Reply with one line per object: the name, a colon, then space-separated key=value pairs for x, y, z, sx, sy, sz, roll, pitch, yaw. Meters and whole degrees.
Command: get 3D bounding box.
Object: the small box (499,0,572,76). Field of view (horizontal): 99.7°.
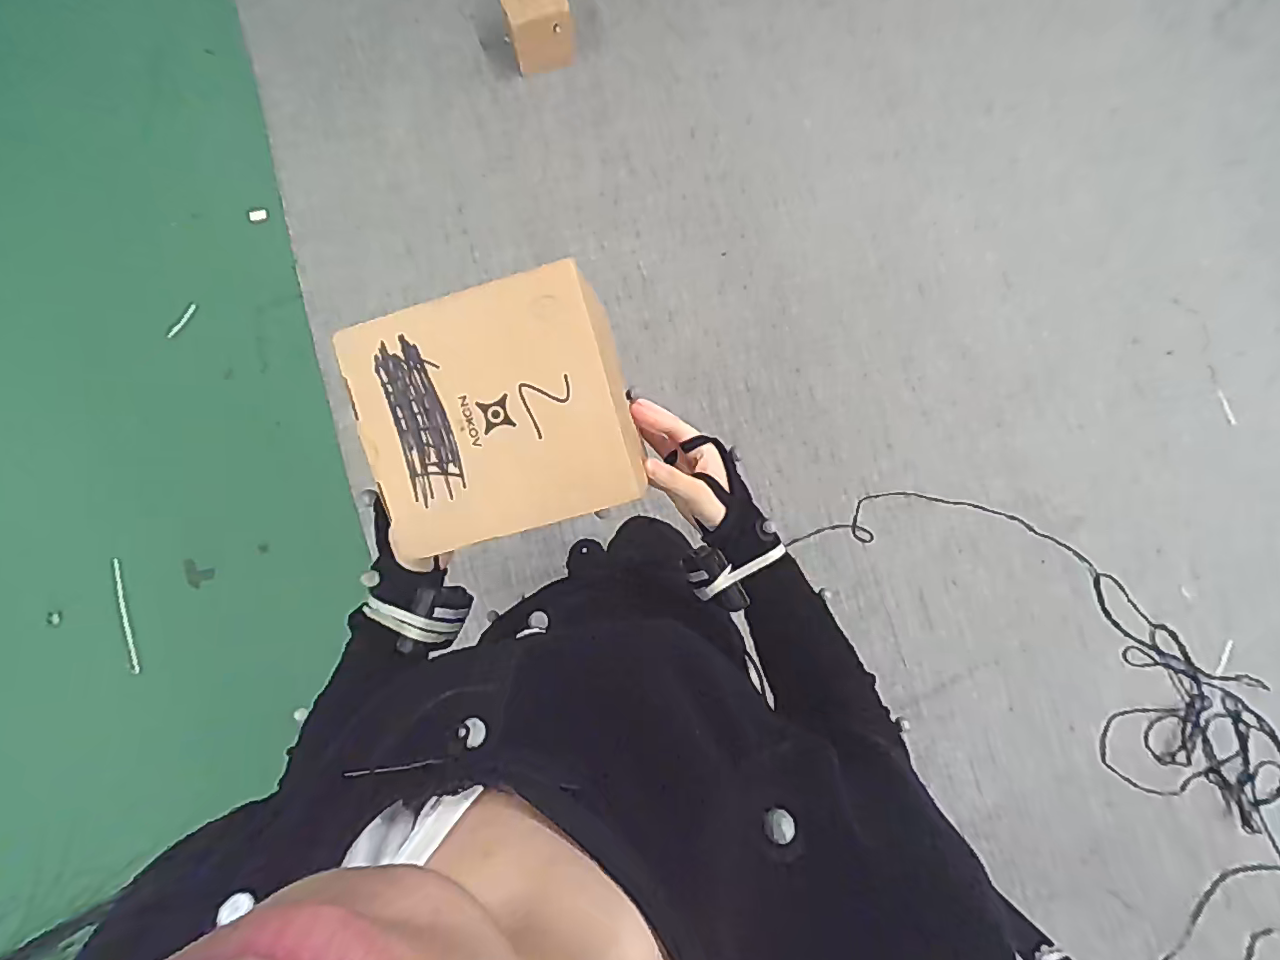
small box: x=-0.305 y=-1.340 z=1.584 sx=0.179 sy=0.176 sz=0.168 roll=-21 pitch=85 yaw=-4
